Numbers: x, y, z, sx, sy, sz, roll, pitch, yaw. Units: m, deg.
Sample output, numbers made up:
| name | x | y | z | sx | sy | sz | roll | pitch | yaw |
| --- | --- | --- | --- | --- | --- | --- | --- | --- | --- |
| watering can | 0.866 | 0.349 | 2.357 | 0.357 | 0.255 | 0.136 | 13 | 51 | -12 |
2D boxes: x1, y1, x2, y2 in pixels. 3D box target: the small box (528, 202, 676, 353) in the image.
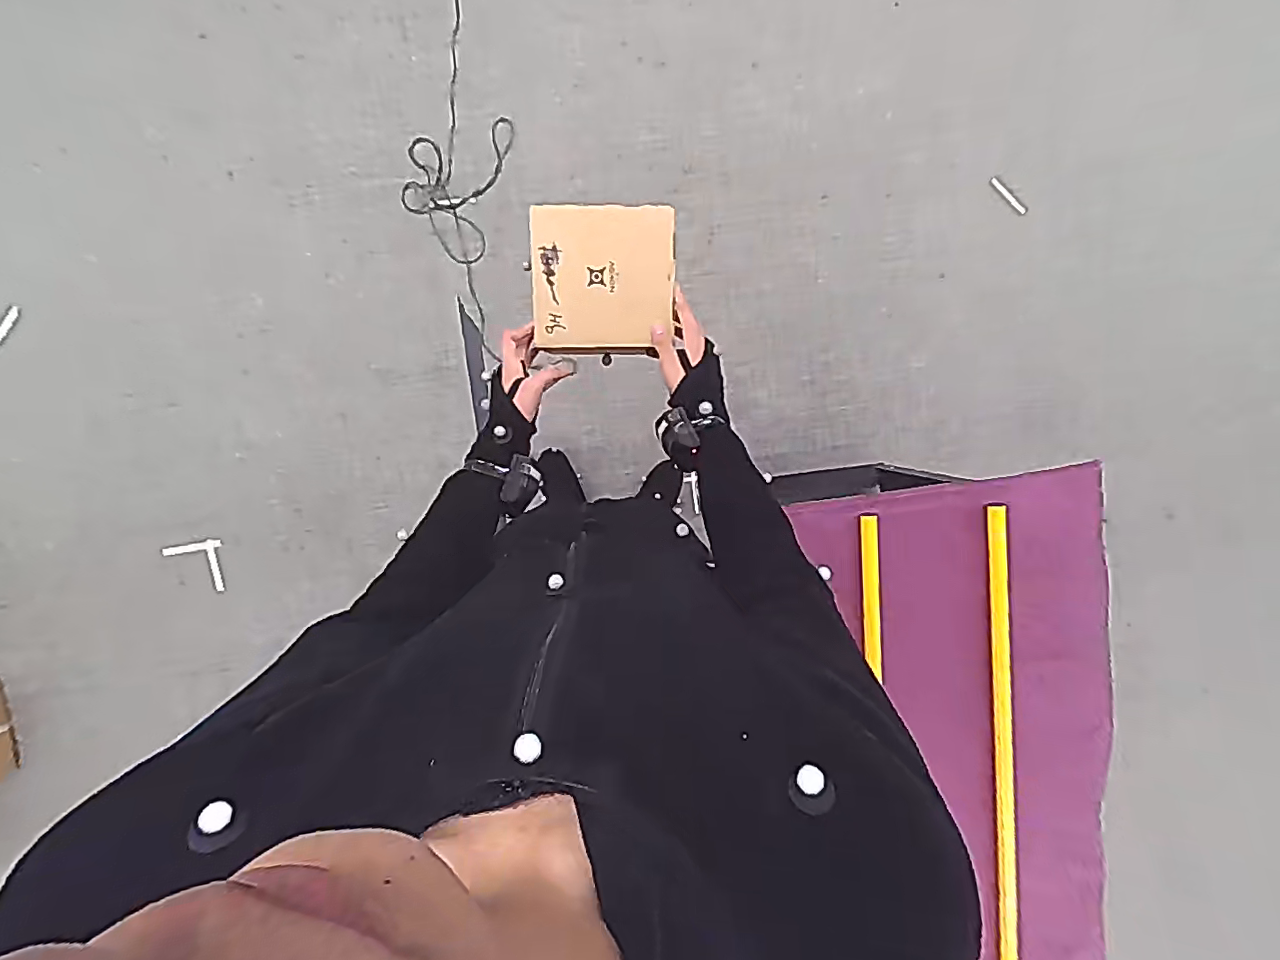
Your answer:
| name | x | y | z | sx | sy | sz | roll | pitch | yaw |
| --- | --- | --- | --- | --- | --- | --- | --- | --- | --- |
| small box | -0.050 | -0.260 | 0.727 | 0.179 | 0.176 | 0.168 | -1 | 101 | -3 |
